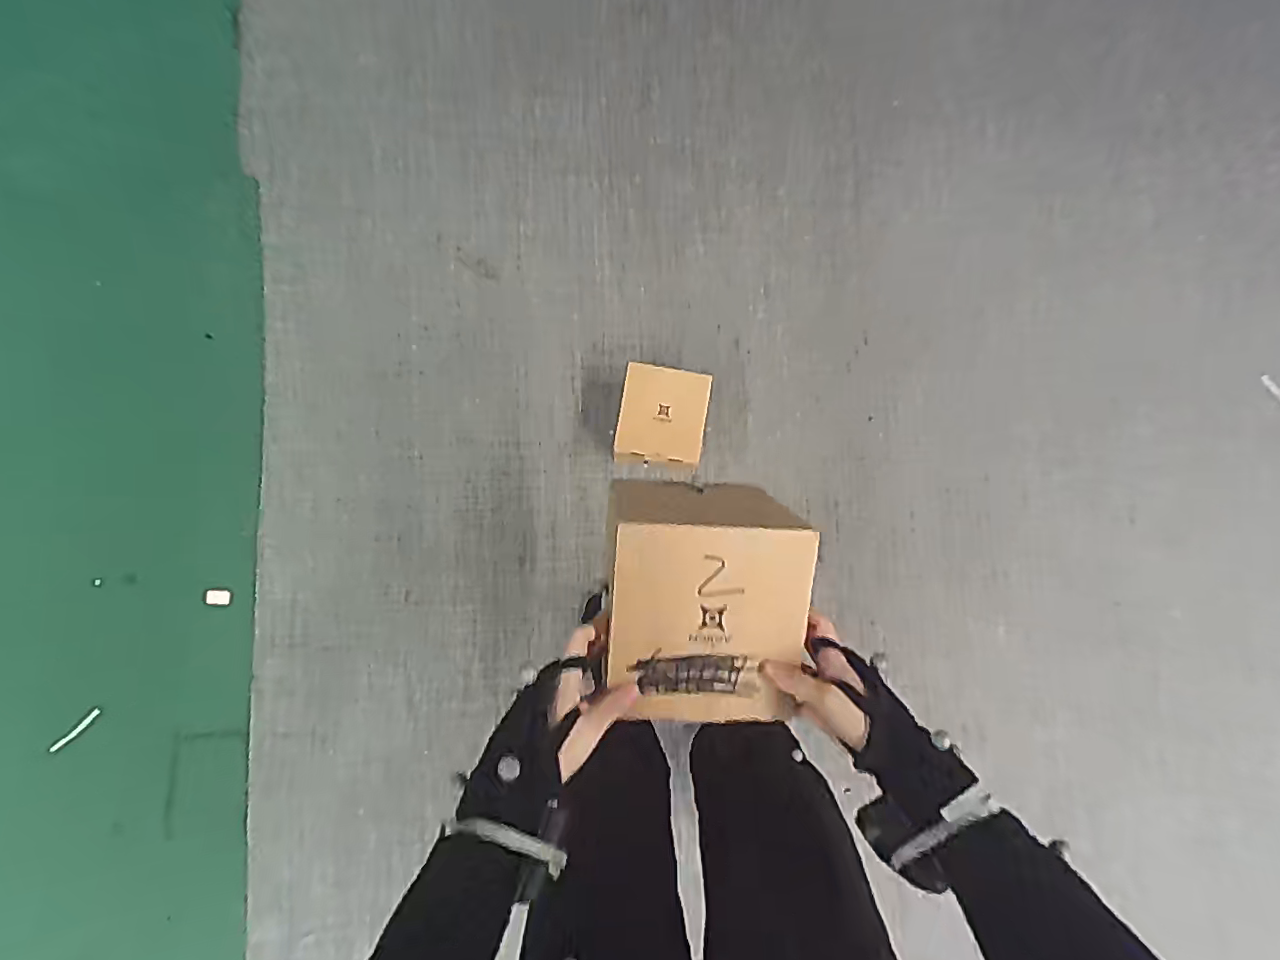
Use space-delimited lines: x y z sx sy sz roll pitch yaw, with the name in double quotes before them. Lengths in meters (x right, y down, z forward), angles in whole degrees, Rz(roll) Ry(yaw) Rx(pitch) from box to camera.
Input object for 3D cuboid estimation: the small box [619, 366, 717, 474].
"small box" 0.049 -0.115 1.112 0.168 0.176 0.179 10 86 -2
